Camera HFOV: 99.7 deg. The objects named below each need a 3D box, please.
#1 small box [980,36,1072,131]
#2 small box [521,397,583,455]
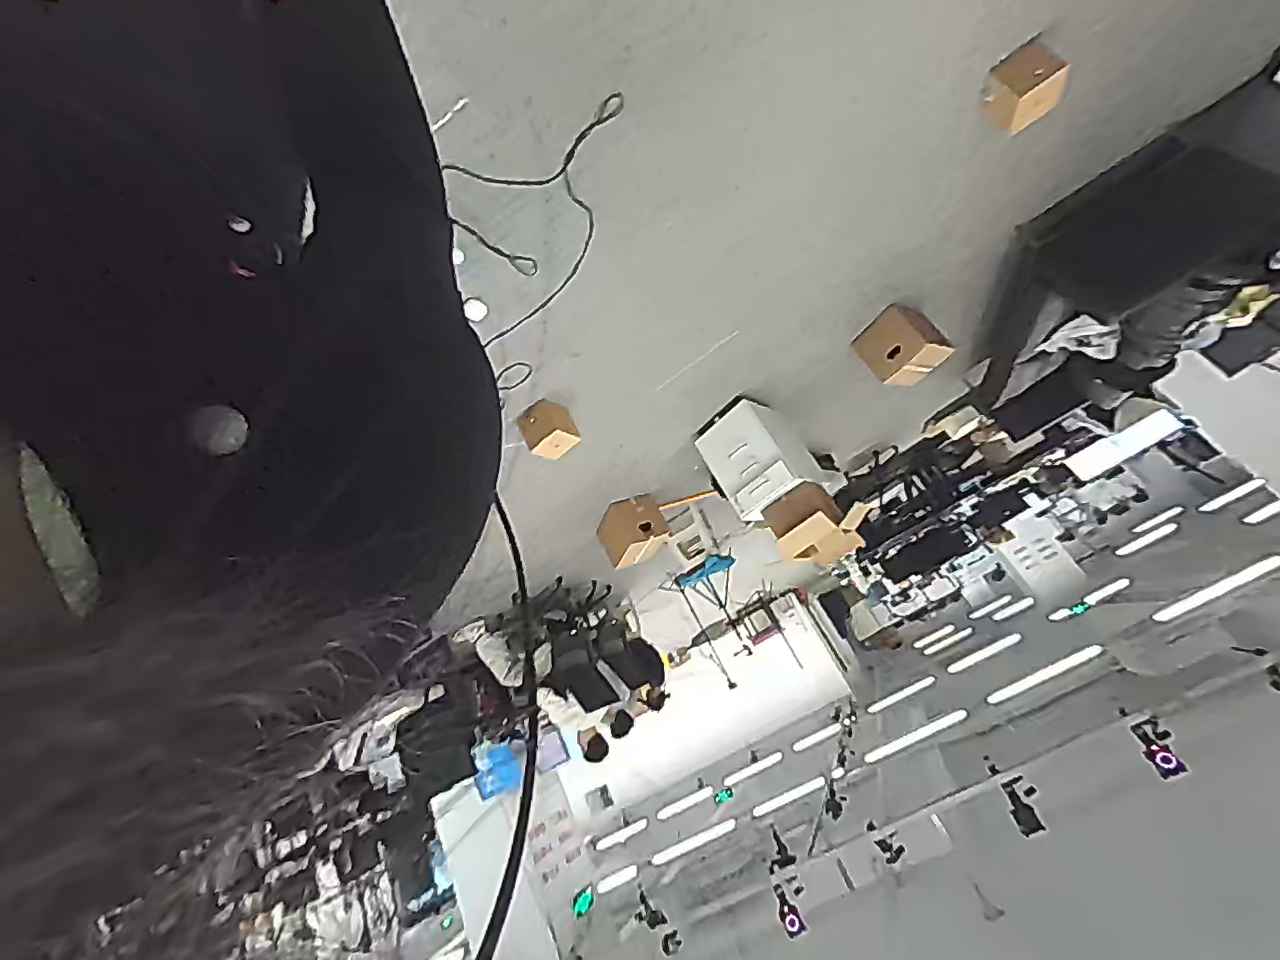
[{"bbox_3d":[1.332,-1.380,1.877,0.179,0.176,0.168,-32,156,12],"label":"small box"},{"bbox_3d":[-0.380,-0.232,2.325,0.168,0.176,0.179,-37,155,20],"label":"small box"}]
